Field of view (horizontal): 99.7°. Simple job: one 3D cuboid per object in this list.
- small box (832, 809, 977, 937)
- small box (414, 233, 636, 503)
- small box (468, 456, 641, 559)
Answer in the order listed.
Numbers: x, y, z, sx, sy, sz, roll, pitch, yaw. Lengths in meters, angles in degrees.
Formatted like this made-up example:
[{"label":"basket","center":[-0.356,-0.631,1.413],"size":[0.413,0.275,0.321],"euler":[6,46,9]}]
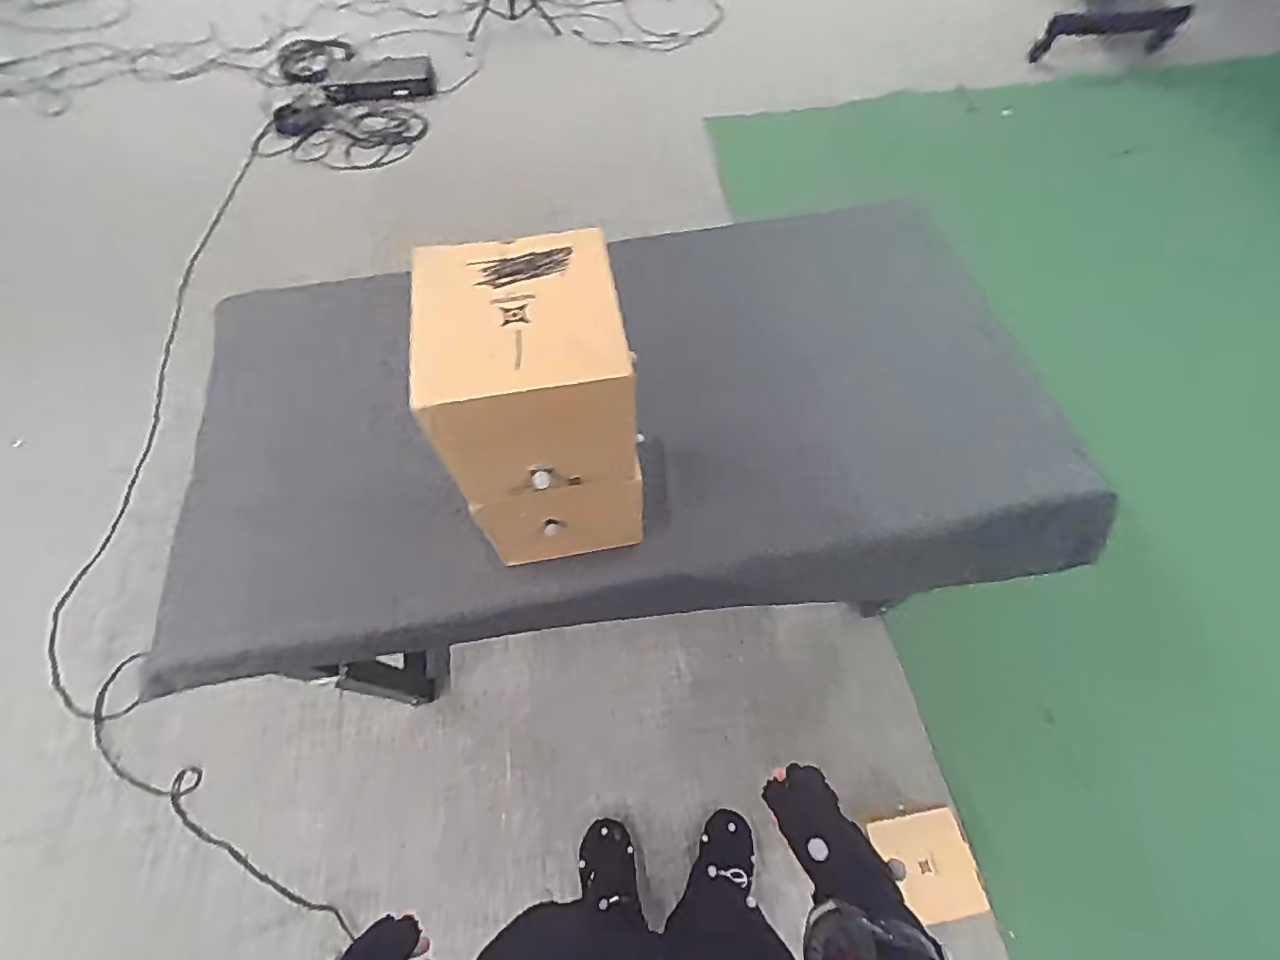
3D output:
[{"label":"small box","center":[0.507,0.761,1.066],"size":[0.179,0.176,0.168],"euler":[-9,61,-3]},{"label":"small box","center":[-0.097,-0.099,0.510],"size":[0.168,0.176,0.179],"euler":[-8,62,-4]},{"label":"small box","center":[-0.097,-0.016,0.652],"size":[0.179,0.176,0.168],"euler":[-8,62,-4]}]
